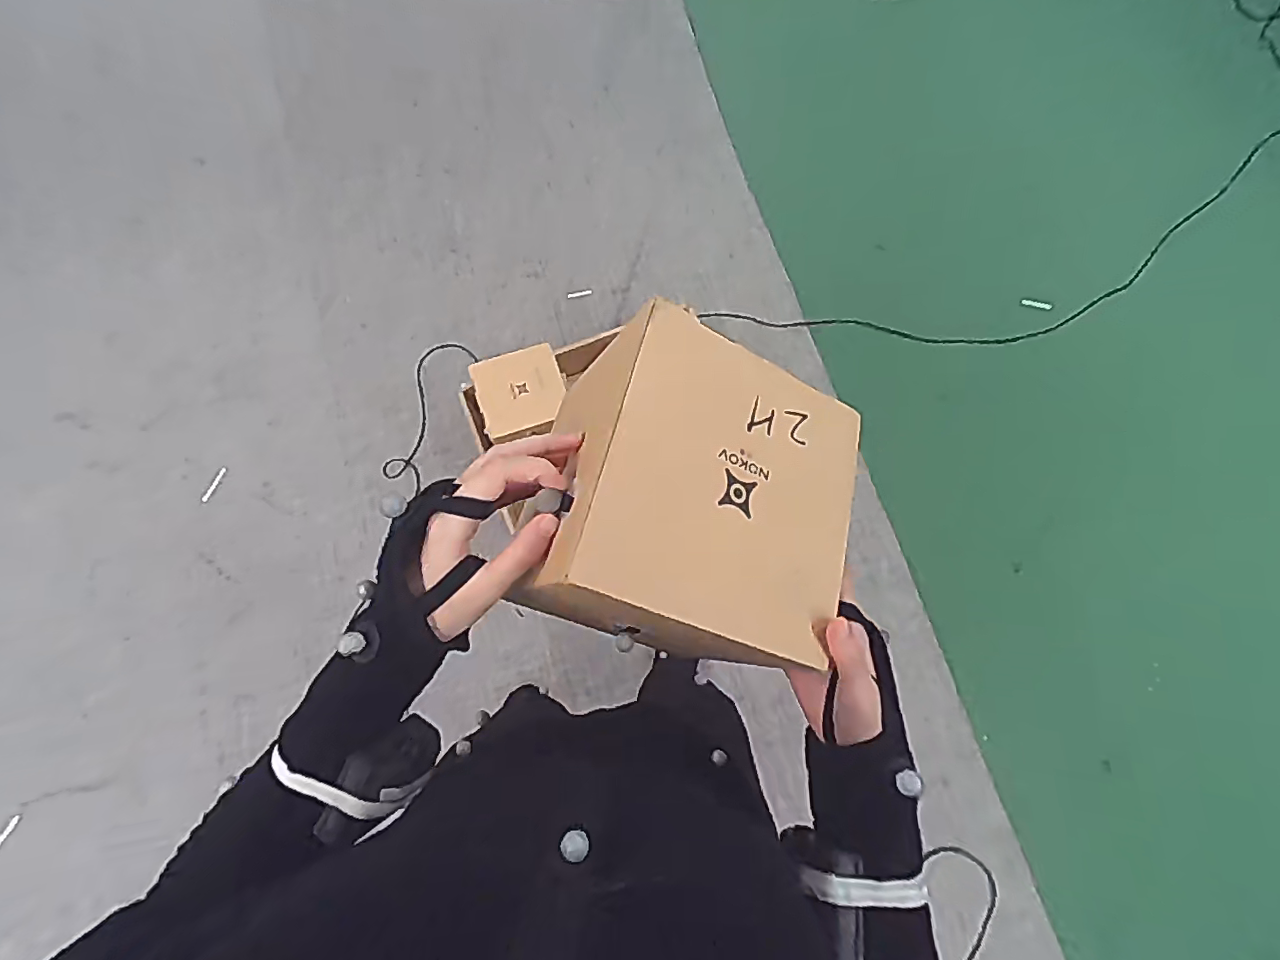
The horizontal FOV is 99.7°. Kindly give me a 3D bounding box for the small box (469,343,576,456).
[{"bbox_3d":[-0.244,-0.165,1.164,0.179,0.176,0.168,-17,80,-8],"label":"small box"}]
